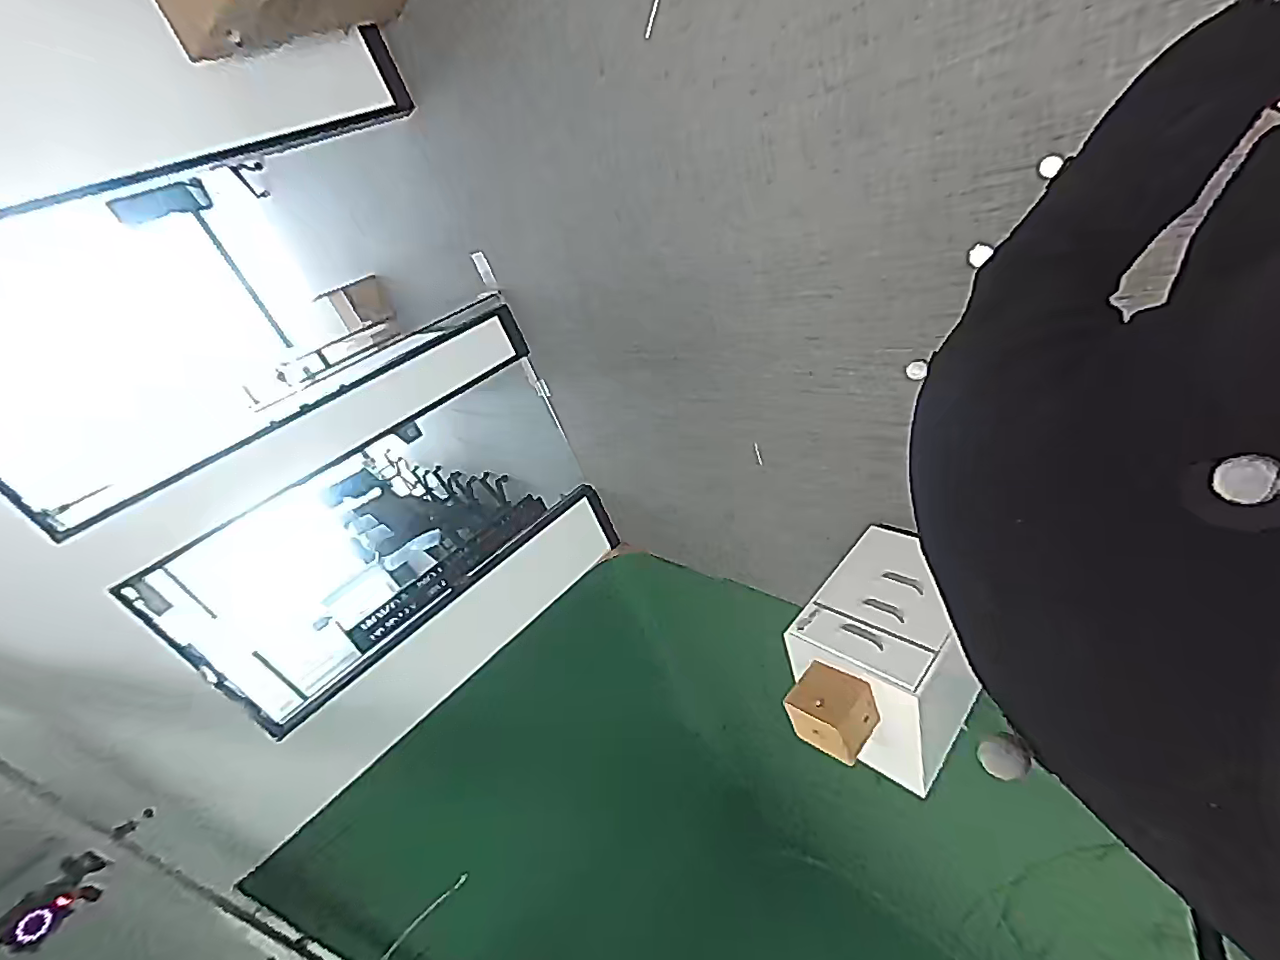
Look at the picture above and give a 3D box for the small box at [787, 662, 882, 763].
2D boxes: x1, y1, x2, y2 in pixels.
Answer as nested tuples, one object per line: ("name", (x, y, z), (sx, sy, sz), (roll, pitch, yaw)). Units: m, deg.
("small box", (0.551, 0.645, 1.528), (0.179, 0.176, 0.168), (10, 132, 51))
